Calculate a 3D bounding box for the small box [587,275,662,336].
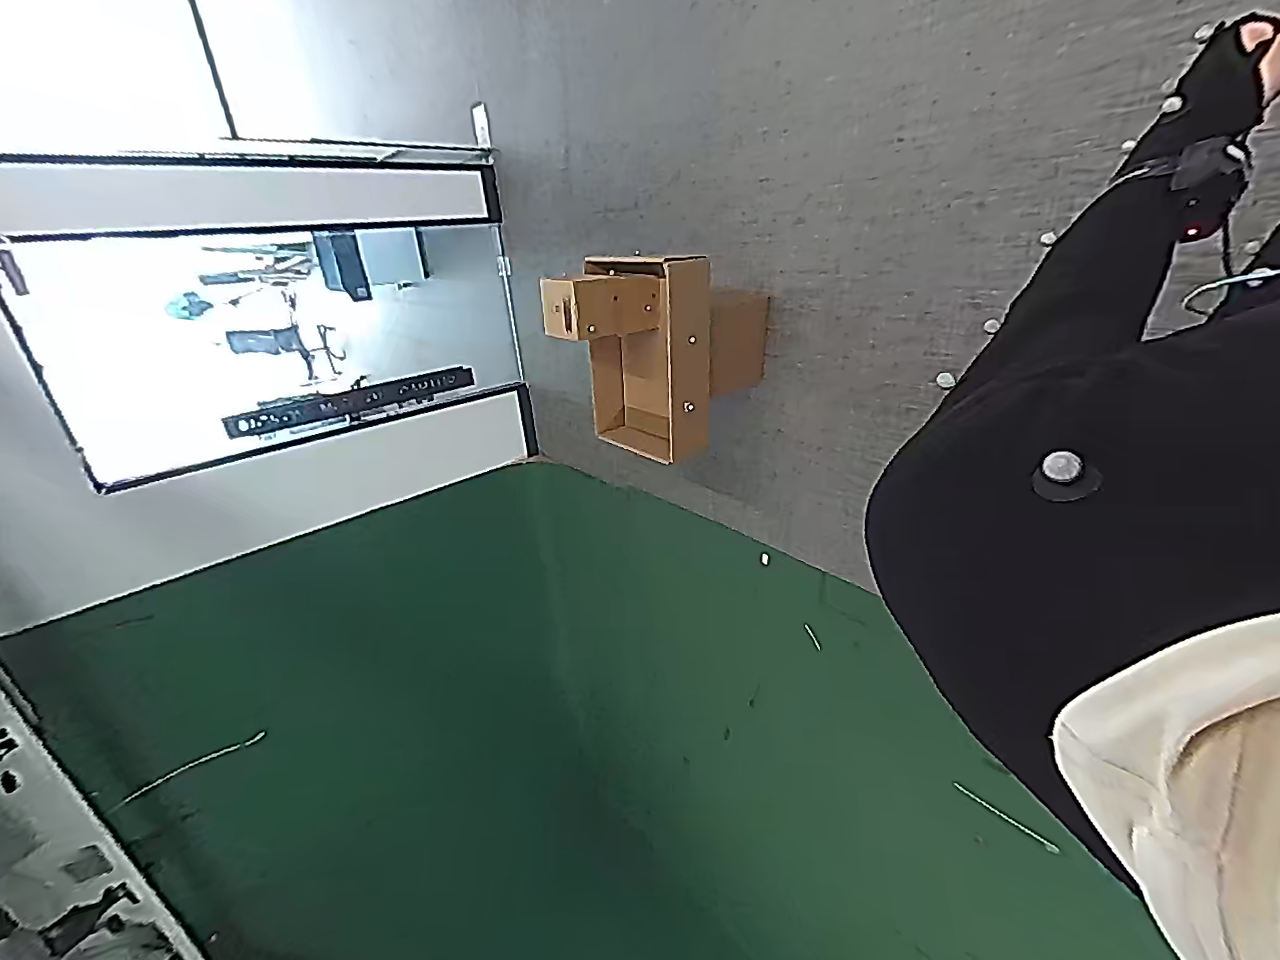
[{"bbox_3d":[-0.051,-0.563,1.733,0.179,0.176,0.168,24,124,43],"label":"small box"}]
